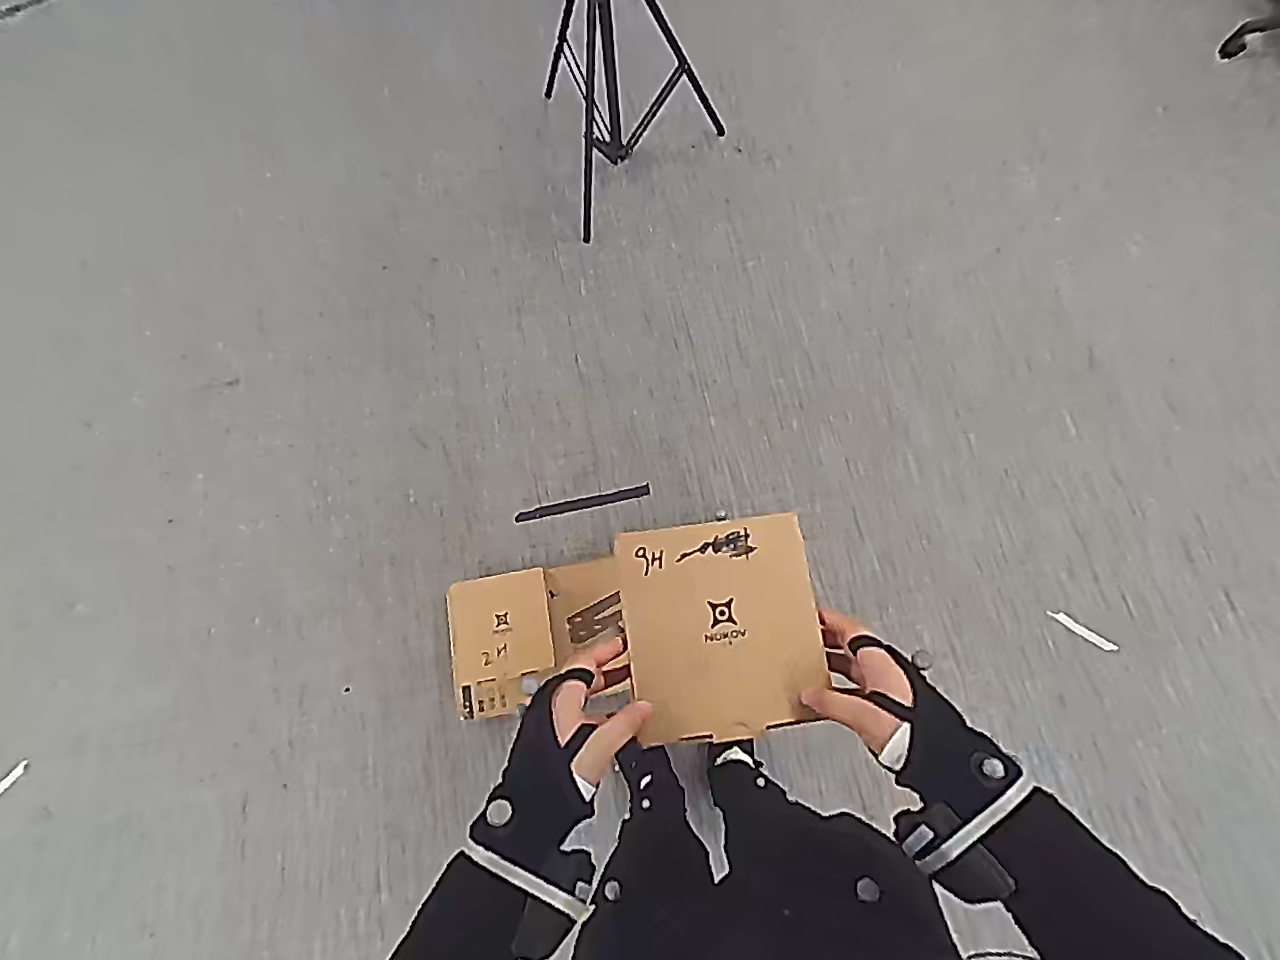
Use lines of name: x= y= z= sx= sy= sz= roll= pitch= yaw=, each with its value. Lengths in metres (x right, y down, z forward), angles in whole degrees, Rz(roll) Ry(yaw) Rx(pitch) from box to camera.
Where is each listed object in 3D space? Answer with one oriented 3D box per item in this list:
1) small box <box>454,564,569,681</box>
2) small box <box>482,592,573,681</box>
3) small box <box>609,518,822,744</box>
small box: x=-0.235 y=0.268 z=1.012 sx=0.168 sy=0.176 sz=0.179 roll=-10 pitch=74 yaw=-1
small box: x=-0.247 y=0.324 z=1.168 sx=0.168 sy=0.176 sz=0.179 roll=-12 pitch=75 yaw=-1
small box: x=0.062 y=0.142 z=0.544 sx=0.168 sy=0.176 sz=0.179 roll=-7 pitch=78 yaw=-3
